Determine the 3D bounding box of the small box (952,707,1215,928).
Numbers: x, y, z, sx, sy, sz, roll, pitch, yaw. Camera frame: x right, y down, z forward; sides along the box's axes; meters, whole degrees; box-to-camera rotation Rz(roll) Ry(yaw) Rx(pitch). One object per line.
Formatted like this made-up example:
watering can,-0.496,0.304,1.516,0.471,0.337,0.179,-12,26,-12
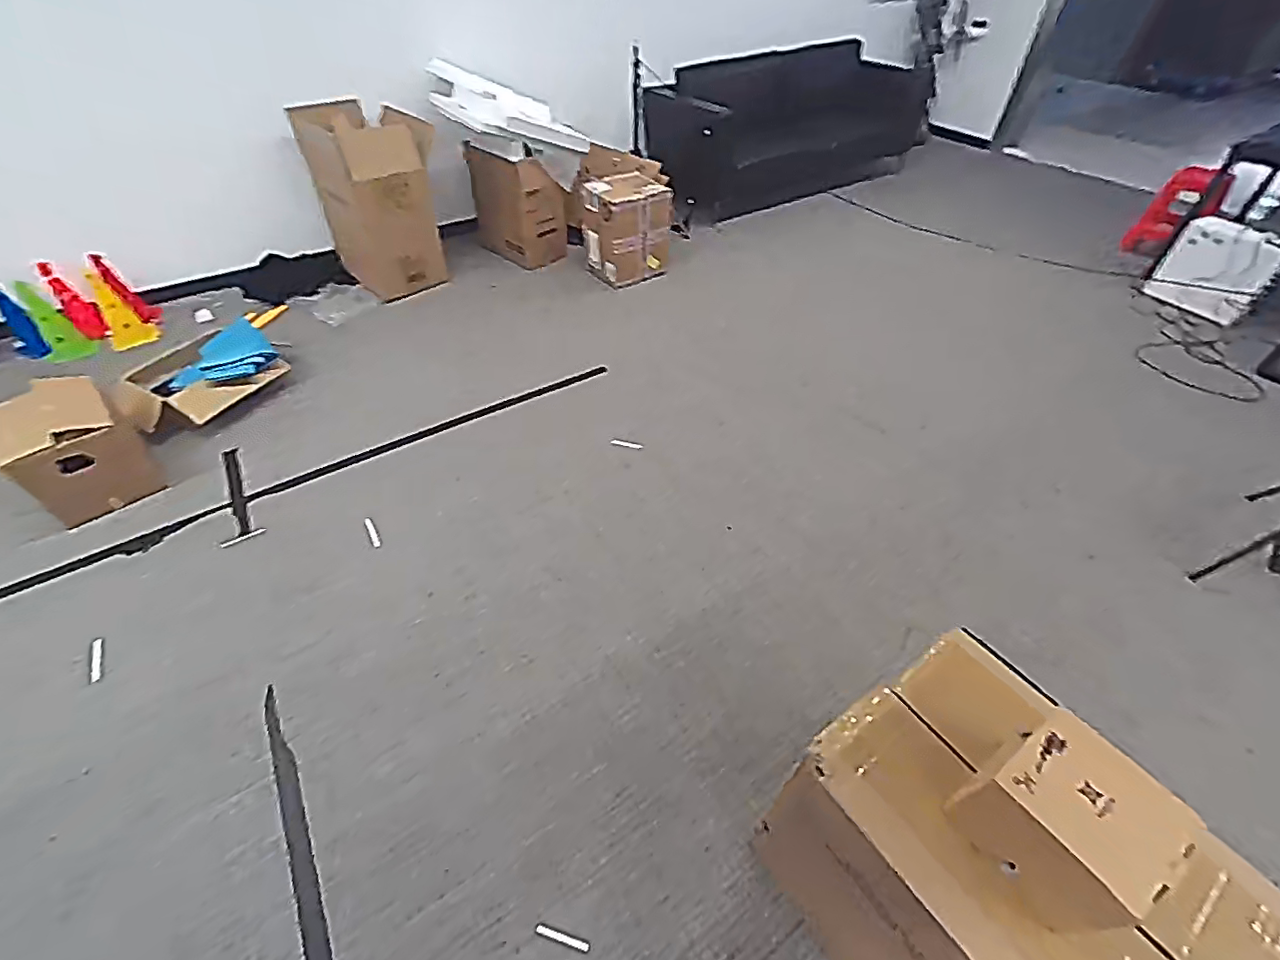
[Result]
small box,0.562,0.444,0.711,0.168,0.176,0.179,-27,52,-22
